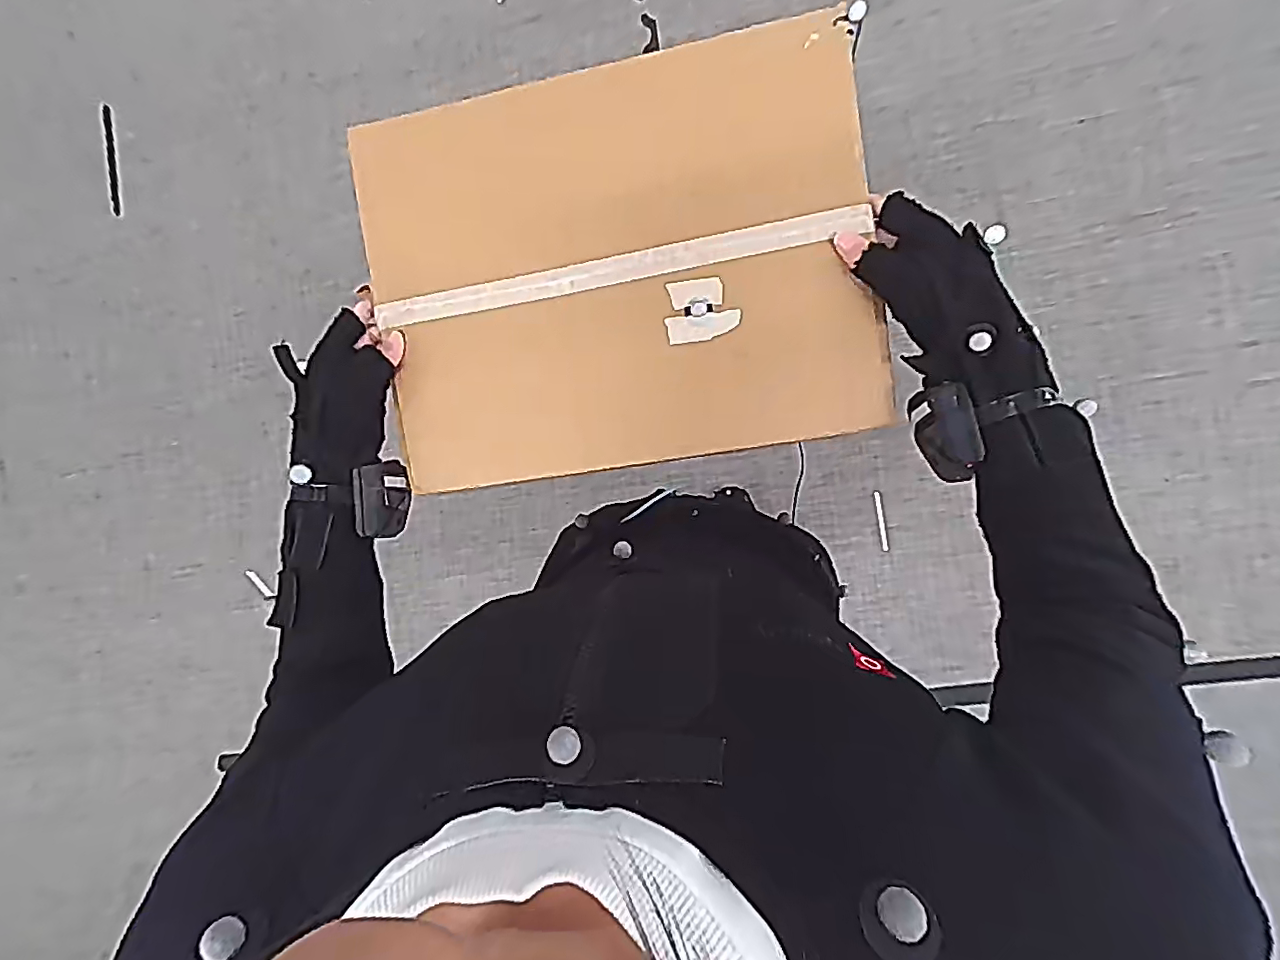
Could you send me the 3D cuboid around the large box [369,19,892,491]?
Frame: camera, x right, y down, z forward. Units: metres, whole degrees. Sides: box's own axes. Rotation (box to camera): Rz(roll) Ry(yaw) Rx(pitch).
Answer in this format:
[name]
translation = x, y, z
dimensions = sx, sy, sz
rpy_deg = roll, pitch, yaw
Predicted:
[large box]
translation = -0.001, -0.182, 0.594
dimensions = 0.408, 0.320, 0.320
rpy_deg = -9, 94, 7
